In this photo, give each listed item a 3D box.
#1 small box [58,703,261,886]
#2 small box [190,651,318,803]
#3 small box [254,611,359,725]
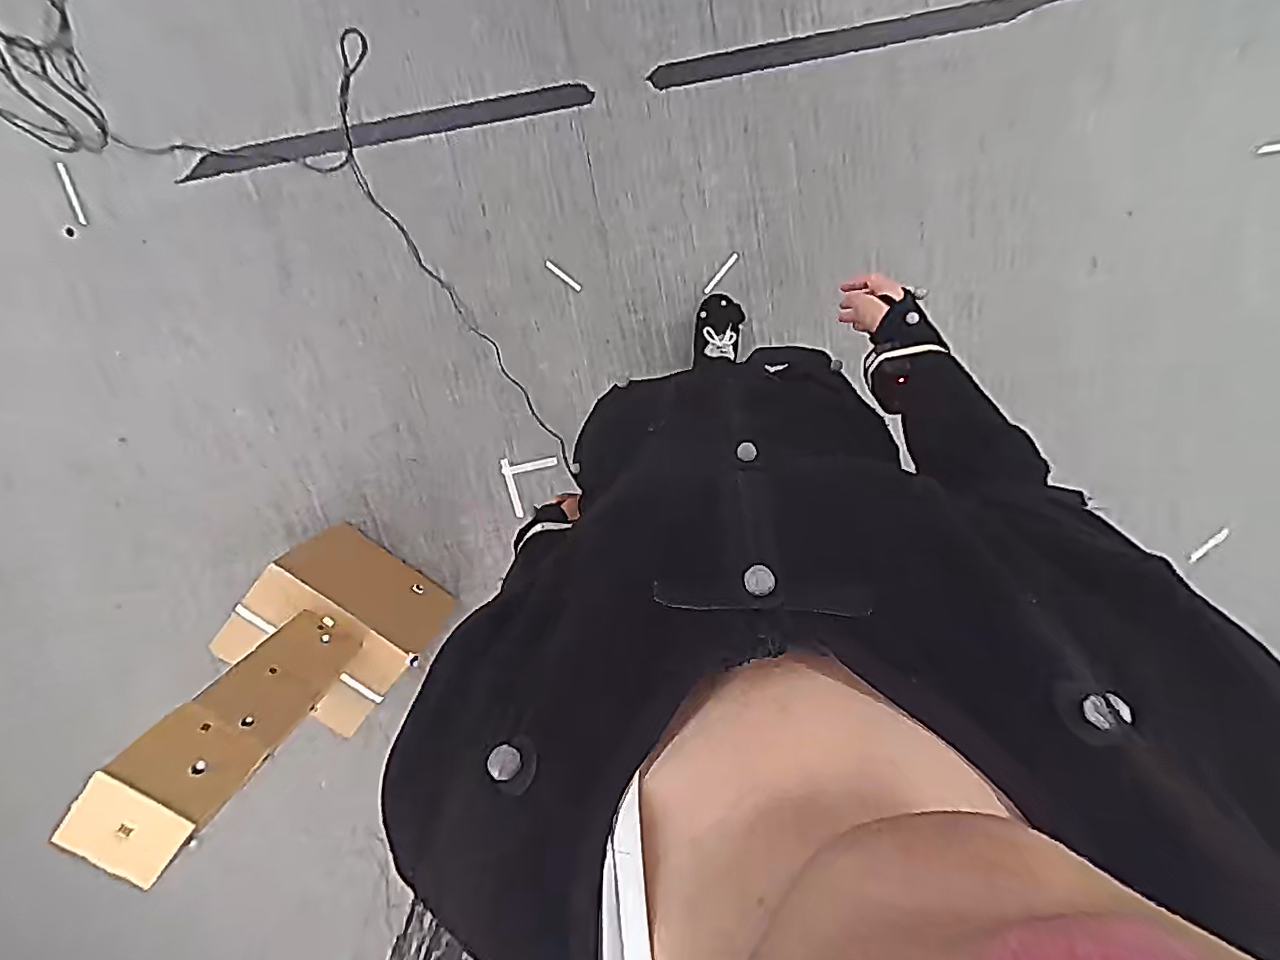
[{"bbox_3d":[-0.795,0.522,0.918,0.168,0.176,0.179,38,103,-9],"label":"small box"},{"bbox_3d":[-0.790,0.484,1.076,0.168,0.176,0.179,38,103,-9],"label":"small box"},{"bbox_3d":[-0.785,0.439,1.234,0.168,0.176,0.179,38,102,-8],"label":"small box"}]
